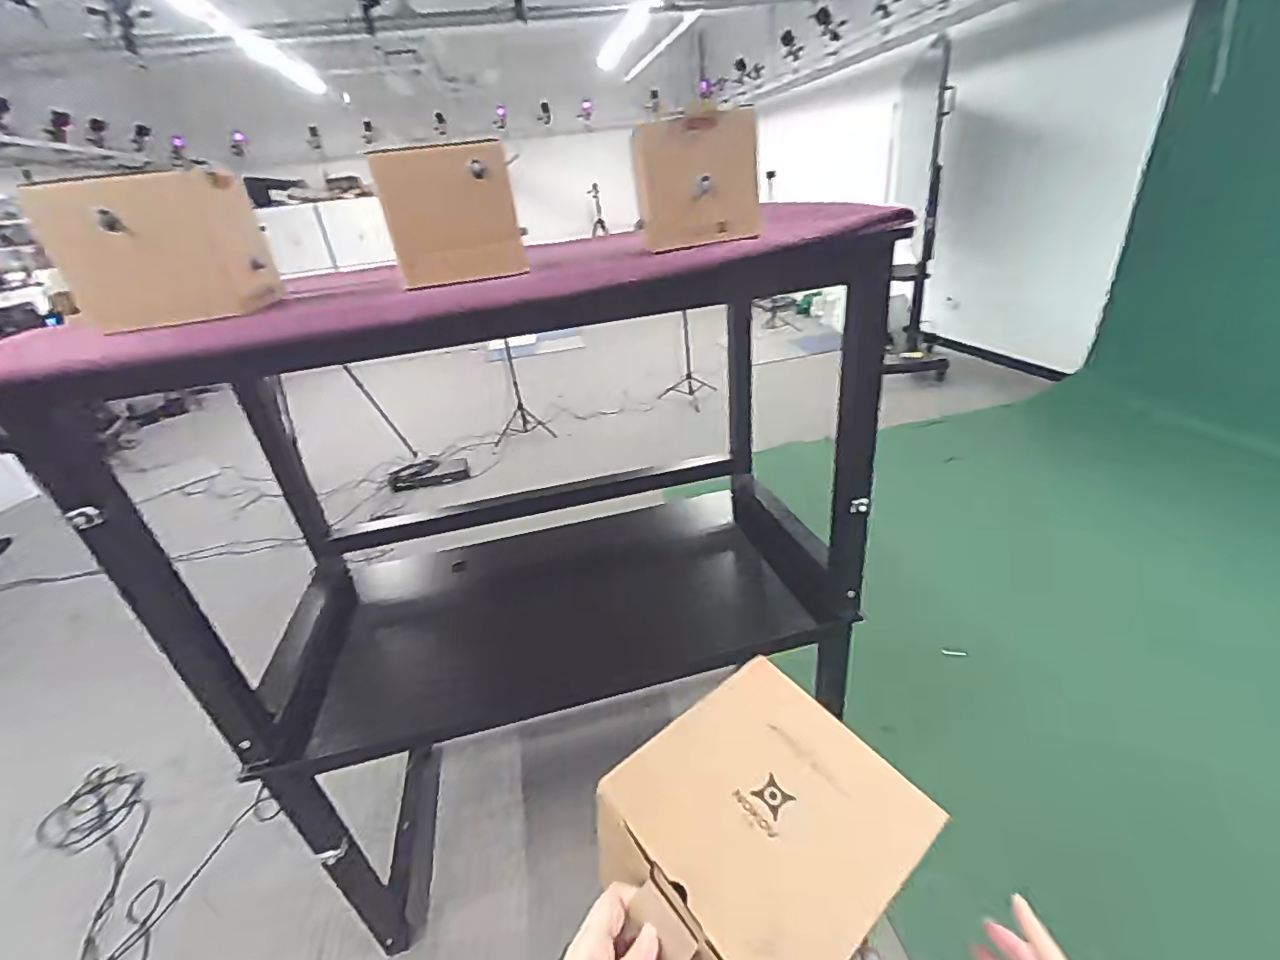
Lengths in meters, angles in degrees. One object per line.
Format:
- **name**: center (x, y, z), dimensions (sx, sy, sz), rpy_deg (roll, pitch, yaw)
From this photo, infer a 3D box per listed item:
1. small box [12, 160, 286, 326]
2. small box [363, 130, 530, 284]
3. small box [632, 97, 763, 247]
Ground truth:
- **small box**: center (-0.611, -0.307, 0.706), dimensions (0.179, 0.176, 0.168), rpy_deg (-11, 30, -9)
- **small box**: center (-0.264, -0.385, 0.779), dimensions (0.179, 0.176, 0.168), rpy_deg (-11, 27, -9)
- **small box**: center (0.085, -0.462, 0.832), dimensions (0.168, 0.176, 0.179), rpy_deg (-10, 27, -2)
